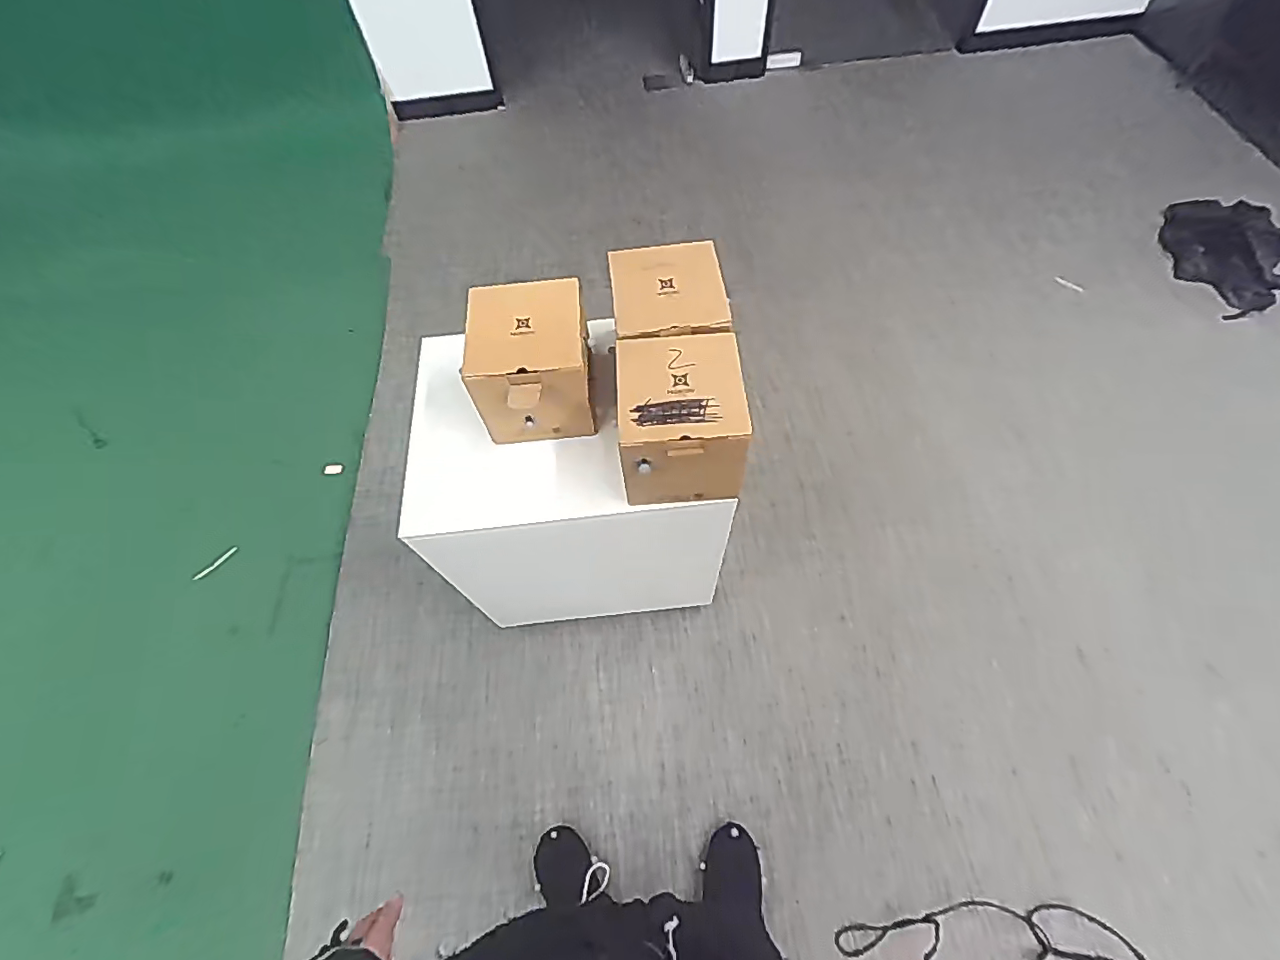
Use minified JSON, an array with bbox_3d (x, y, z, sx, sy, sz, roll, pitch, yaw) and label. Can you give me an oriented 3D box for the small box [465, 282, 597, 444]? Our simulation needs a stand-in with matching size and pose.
[{"bbox_3d":[-0.158,-0.177,0.838,0.168,0.176,0.179,-6,61,0],"label":"small box"}]
